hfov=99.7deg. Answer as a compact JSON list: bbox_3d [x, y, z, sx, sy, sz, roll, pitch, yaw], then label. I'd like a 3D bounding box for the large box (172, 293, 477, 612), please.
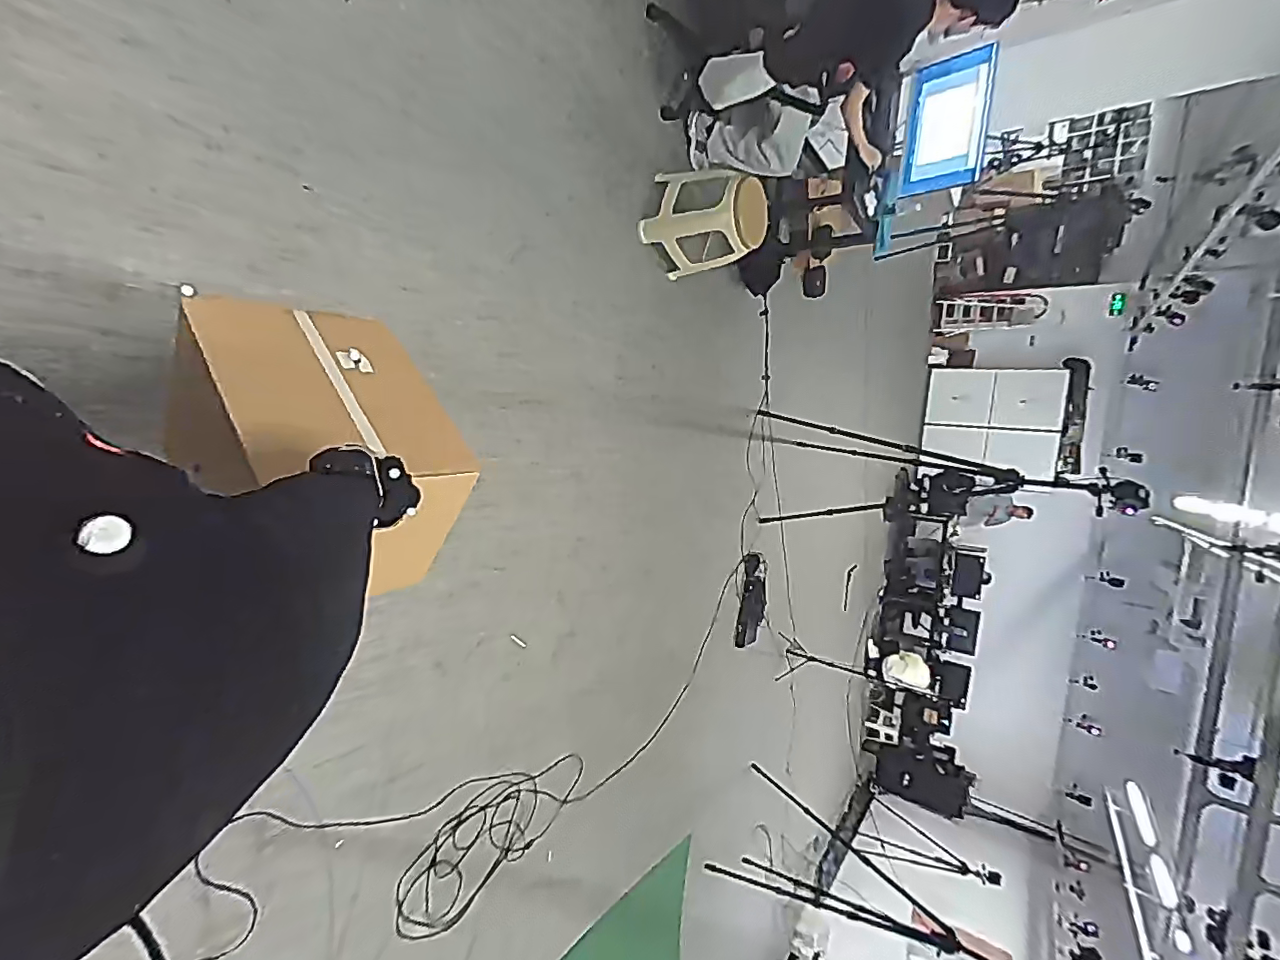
[{"bbox_3d":[-0.554,-0.053,0.933,0.320,0.408,0.320,-8,142,-51],"label":"large box"}]
